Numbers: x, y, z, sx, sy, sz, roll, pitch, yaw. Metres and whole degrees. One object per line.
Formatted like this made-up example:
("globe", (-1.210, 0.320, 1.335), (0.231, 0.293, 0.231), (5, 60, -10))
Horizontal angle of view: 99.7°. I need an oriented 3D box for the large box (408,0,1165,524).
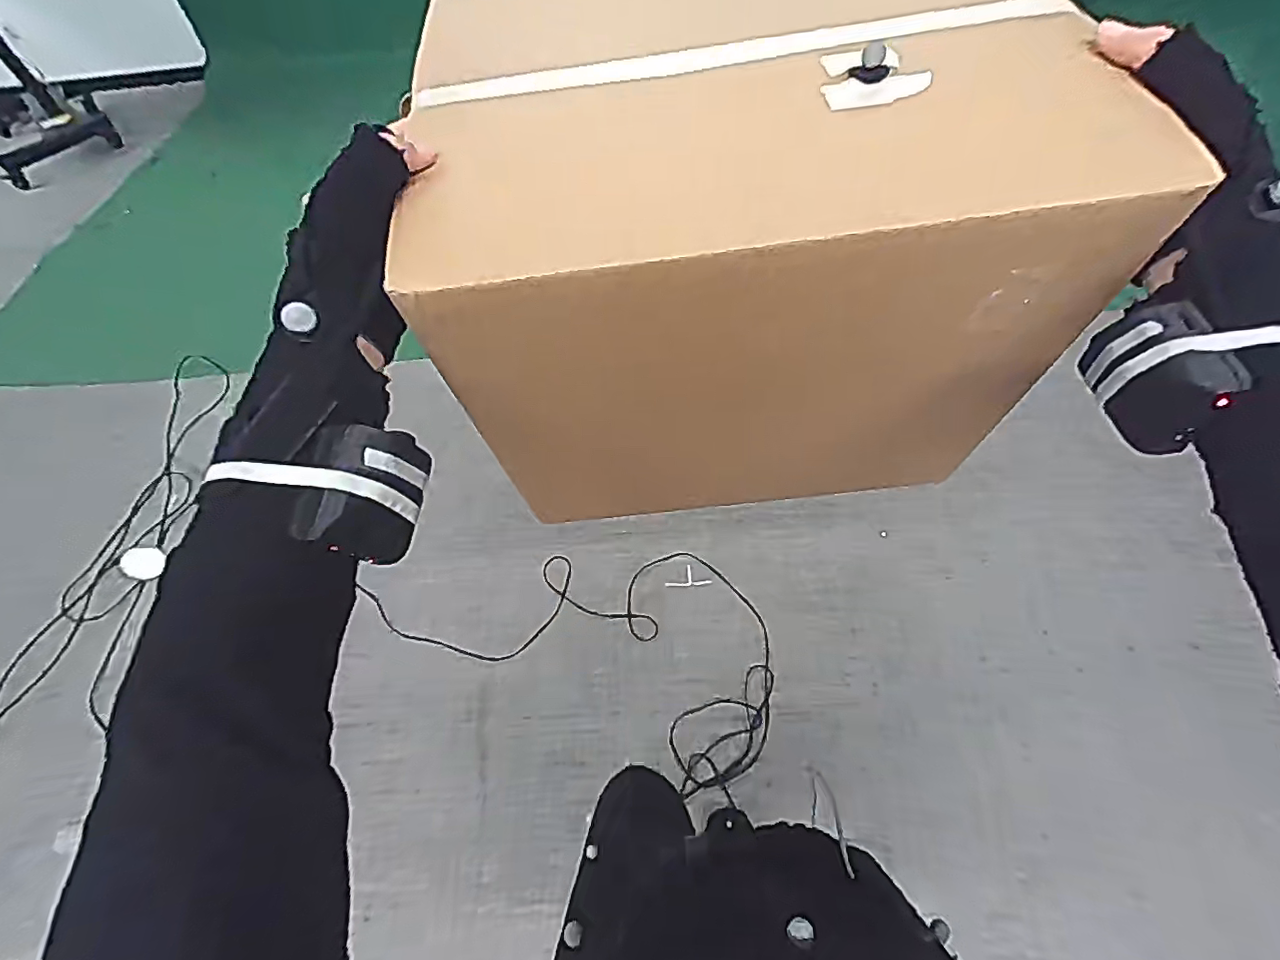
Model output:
("large box", (0.068, -0.179, 0.478), (0.408, 0.320, 0.320), (-7, 63, 2))
